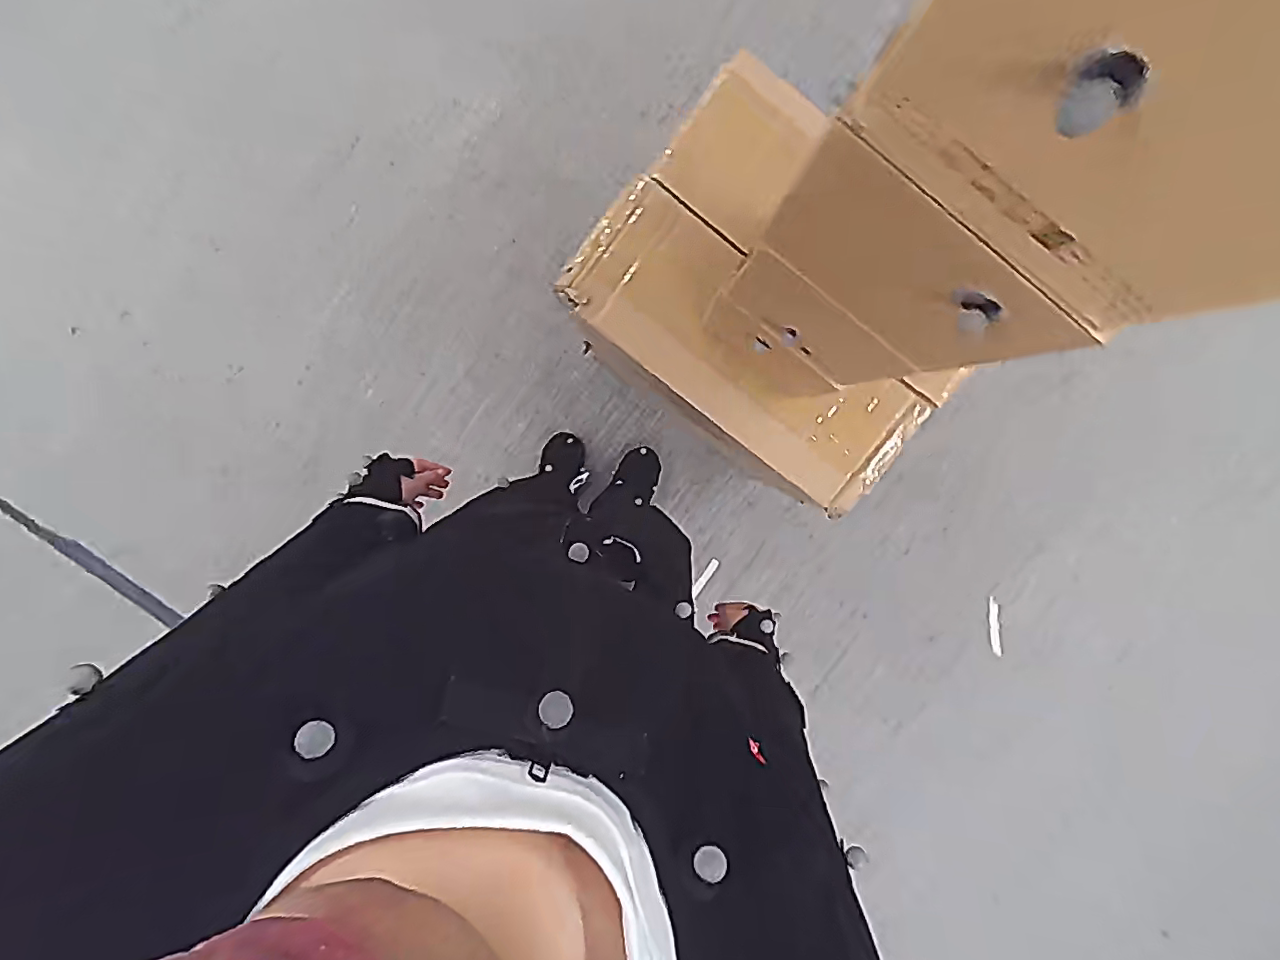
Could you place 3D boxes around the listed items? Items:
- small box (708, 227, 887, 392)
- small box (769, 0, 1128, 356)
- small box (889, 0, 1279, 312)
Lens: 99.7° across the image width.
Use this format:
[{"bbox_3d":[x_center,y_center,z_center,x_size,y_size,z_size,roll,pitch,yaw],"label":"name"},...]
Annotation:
[{"bbox_3d":[0.203,-0.221,0.659,0.179,0.176,0.168,38,95,-4],"label":"small box"},{"bbox_3d":[0.209,-0.192,0.331,0.179,0.176,0.168,38,94,-4],"label":"small box"},{"bbox_3d":[0.212,-0.180,0.169,0.168,0.176,0.179,38,94,-4],"label":"small box"}]
